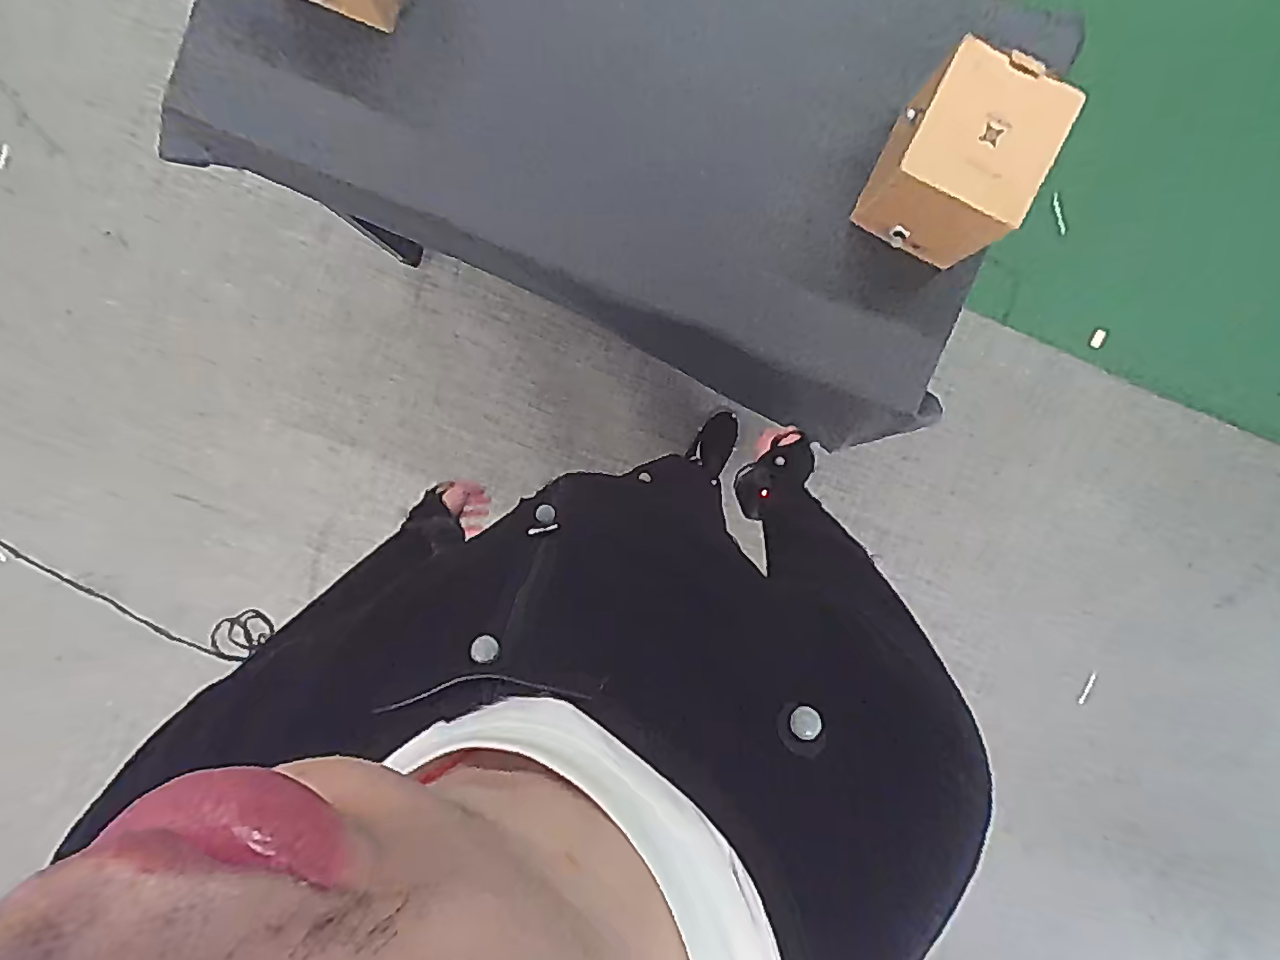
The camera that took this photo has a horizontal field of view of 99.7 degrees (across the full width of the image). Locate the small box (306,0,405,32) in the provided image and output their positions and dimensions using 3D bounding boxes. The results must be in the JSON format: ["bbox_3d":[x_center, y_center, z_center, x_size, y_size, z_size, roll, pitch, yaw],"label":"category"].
[{"bbox_3d":[-0.403,-0.742,0.701,0.179,0.176,0.168,21,93,-3],"label":"small box"}]

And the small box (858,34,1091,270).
[{"bbox_3d":[0.423,-0.416,0.719,0.168,0.176,0.179,28,94,0],"label":"small box"}]
